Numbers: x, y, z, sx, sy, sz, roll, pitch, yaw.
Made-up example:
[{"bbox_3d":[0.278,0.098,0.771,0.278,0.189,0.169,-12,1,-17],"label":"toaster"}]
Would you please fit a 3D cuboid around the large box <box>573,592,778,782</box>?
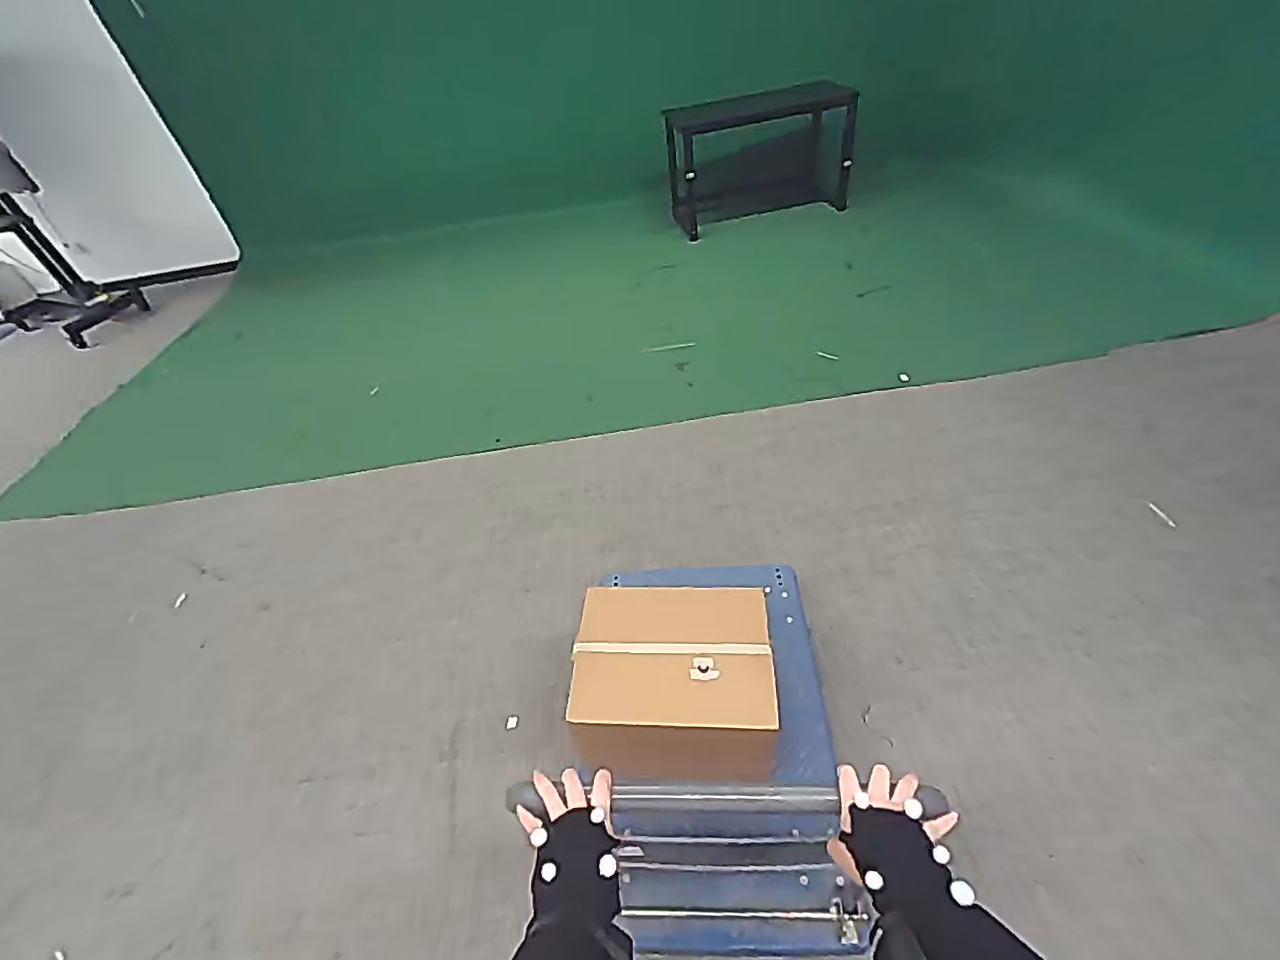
[{"bbox_3d":[0.085,0.473,1.242,0.408,0.320,0.320,-1,43,7],"label":"large box"}]
